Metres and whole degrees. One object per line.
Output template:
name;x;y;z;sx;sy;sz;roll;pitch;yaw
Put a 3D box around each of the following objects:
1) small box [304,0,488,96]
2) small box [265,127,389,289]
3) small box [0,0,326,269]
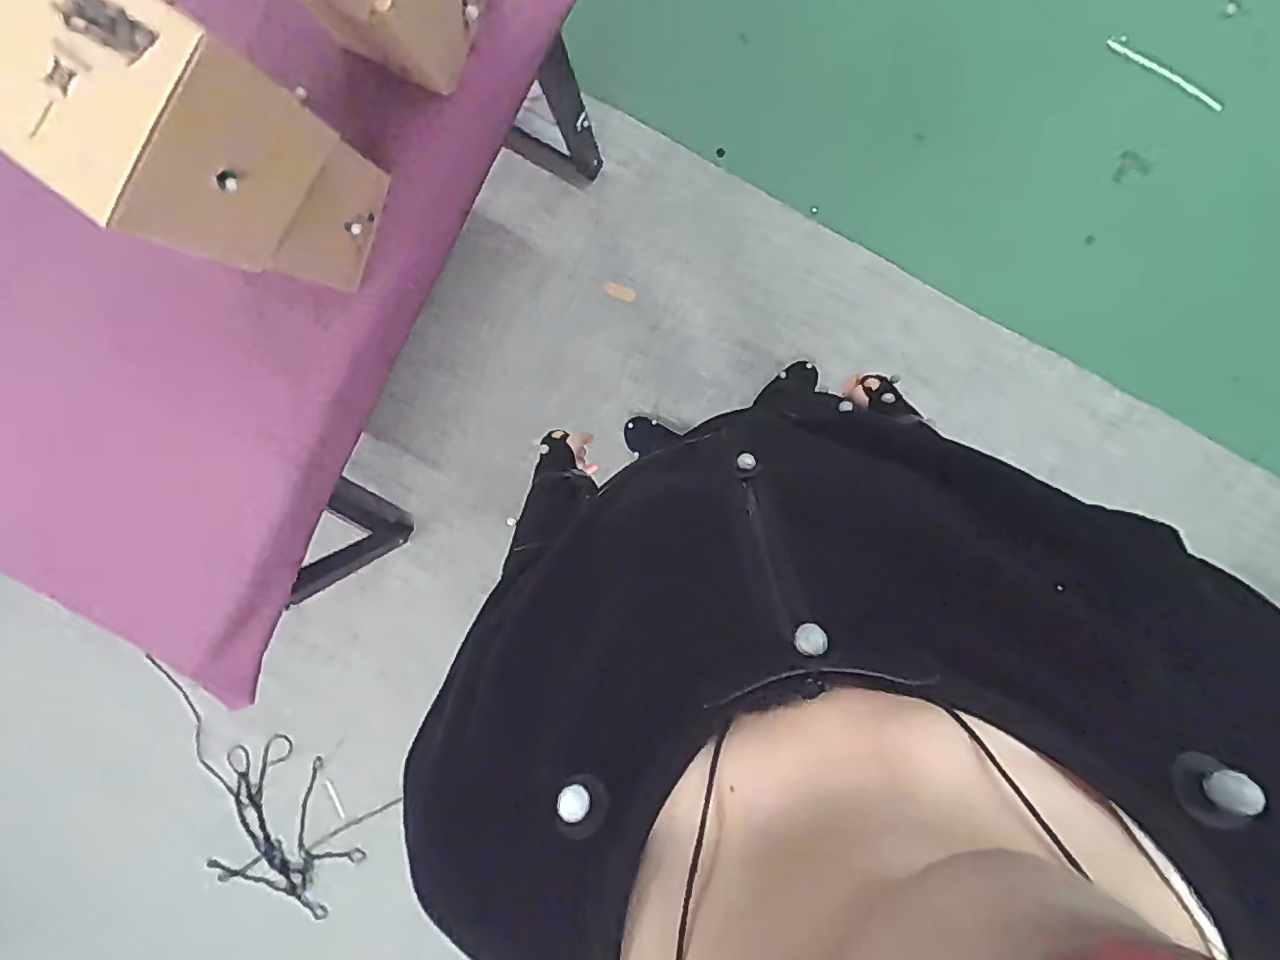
small box;-0.288;-0.597;0.616;0.168;0.176;0.179;26;100;0
small box;-0.452;-0.354;0.668;0.179;0.176;0.168;23;101;1
small box;-0.437;-0.331;0.504;0.168;0.176;0.179;38;101;-1
